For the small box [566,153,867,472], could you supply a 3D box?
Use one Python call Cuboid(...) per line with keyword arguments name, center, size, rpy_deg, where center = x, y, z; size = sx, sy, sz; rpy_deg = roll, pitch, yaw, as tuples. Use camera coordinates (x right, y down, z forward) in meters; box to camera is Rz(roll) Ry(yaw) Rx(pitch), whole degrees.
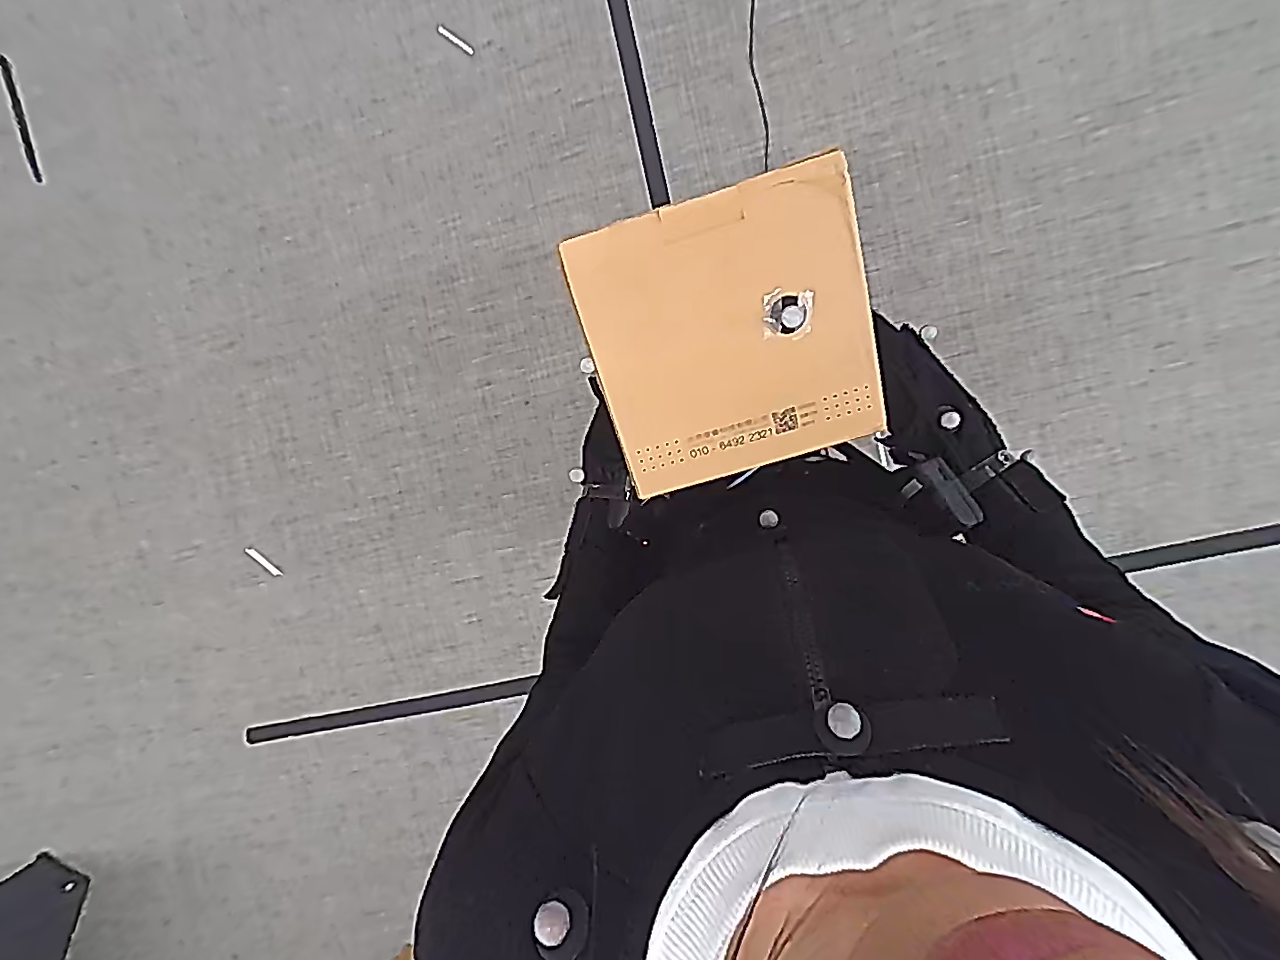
Cuboid(name="small box", center=(0.057, -0.118, 0.417), size=(0.168, 0.179, 0.176), rpy_deg=(-15, 110, 7))
